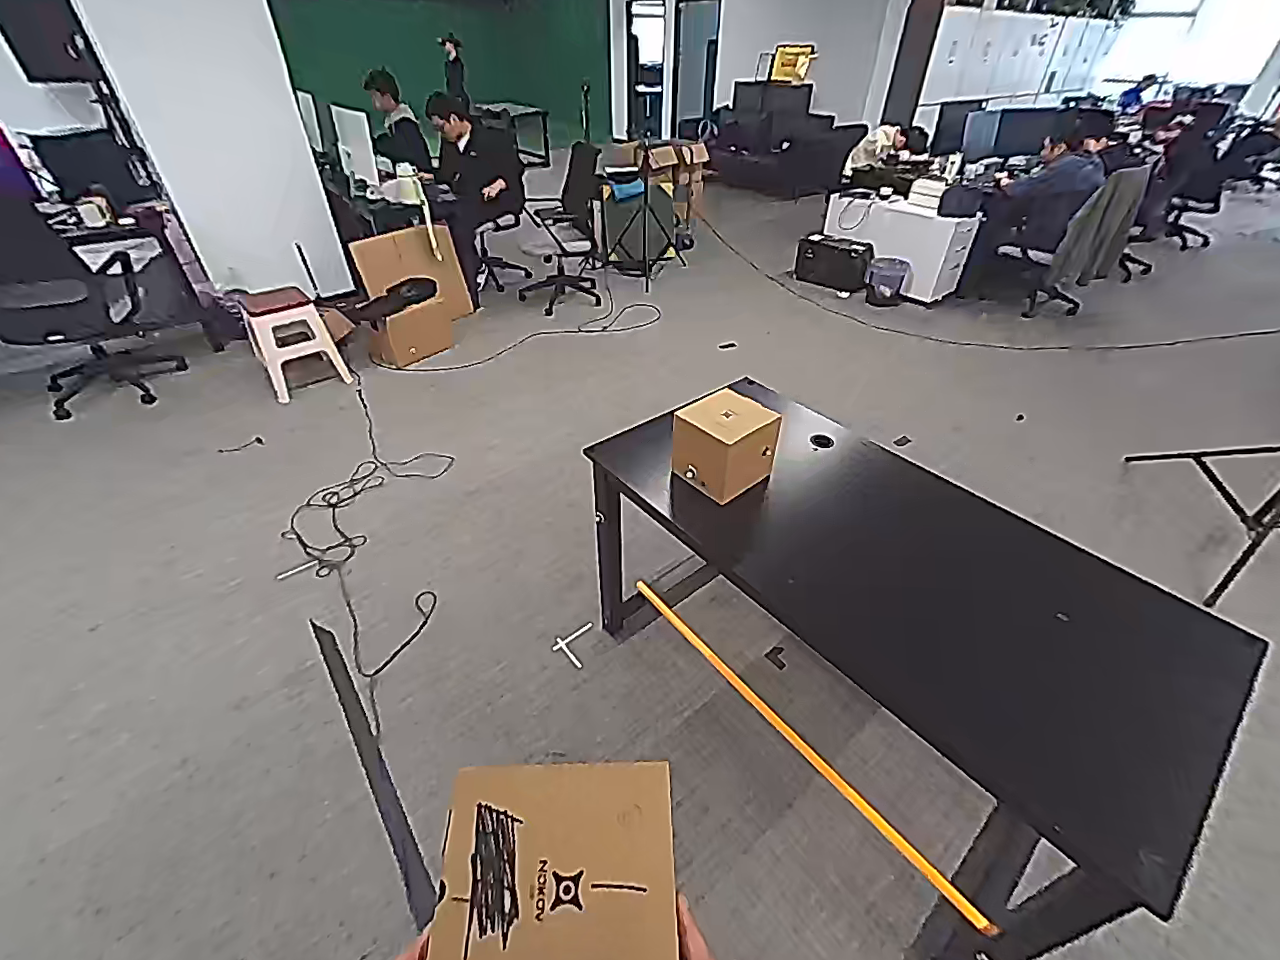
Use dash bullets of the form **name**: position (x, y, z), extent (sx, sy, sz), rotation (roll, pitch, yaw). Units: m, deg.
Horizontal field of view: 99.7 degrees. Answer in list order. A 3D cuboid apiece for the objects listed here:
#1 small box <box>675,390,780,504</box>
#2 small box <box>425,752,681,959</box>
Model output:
- **small box**: position (0.191, -0.076, 1.236), extent (0.179, 0.176, 0.168), rotation (-30, 47, -31)
- **small box**: position (-0.061, 0.342, 0.456), extent (0.179, 0.176, 0.168), rotation (0, 49, -2)
